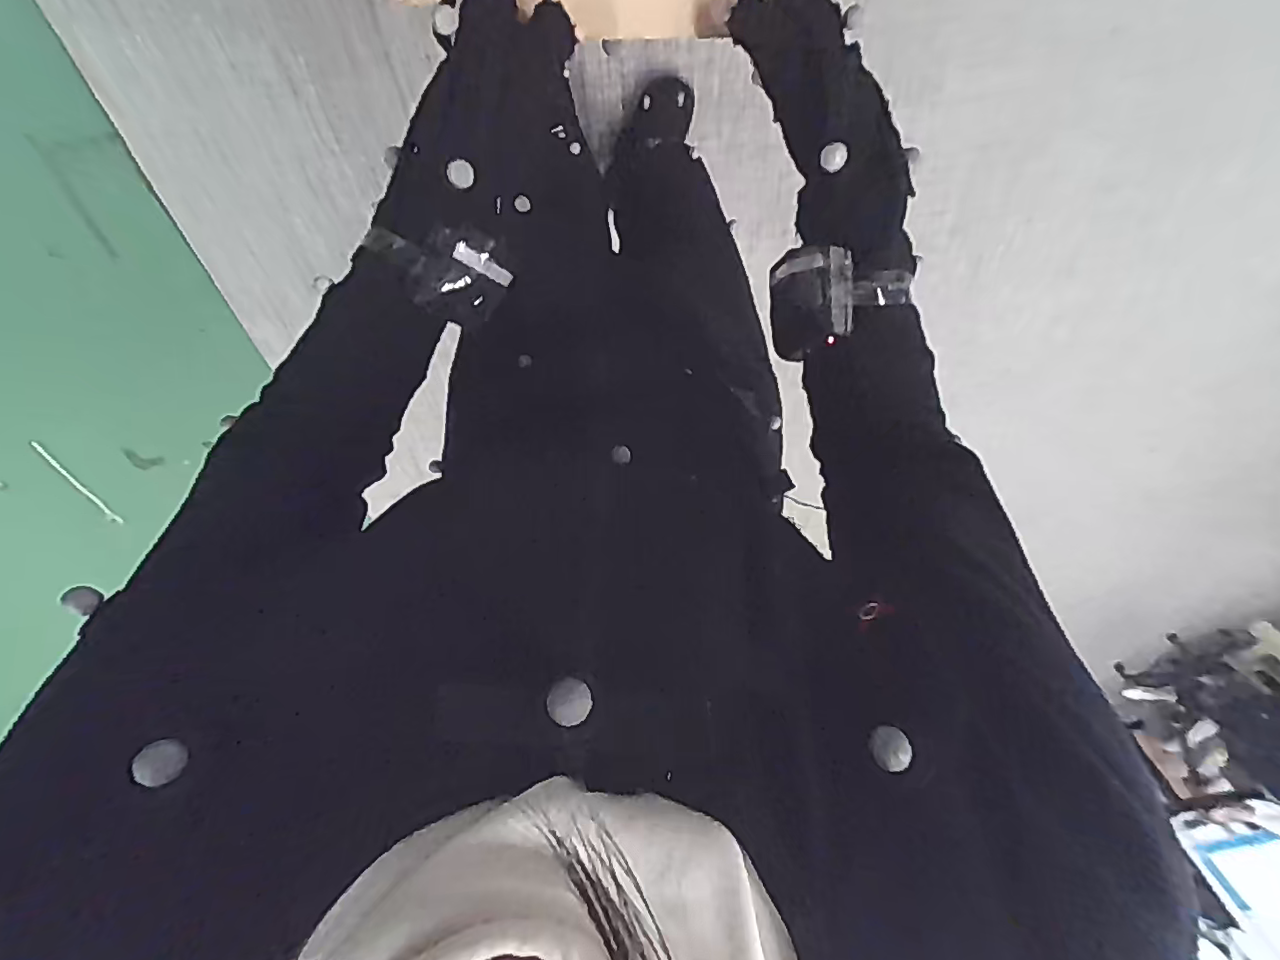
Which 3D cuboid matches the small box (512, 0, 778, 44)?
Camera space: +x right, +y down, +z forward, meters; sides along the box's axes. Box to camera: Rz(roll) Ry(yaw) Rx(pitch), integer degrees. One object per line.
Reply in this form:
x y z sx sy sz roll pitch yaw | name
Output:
-0.006 -0.410 0.372 0.179 0.176 0.168 -7 130 -3 | small box
